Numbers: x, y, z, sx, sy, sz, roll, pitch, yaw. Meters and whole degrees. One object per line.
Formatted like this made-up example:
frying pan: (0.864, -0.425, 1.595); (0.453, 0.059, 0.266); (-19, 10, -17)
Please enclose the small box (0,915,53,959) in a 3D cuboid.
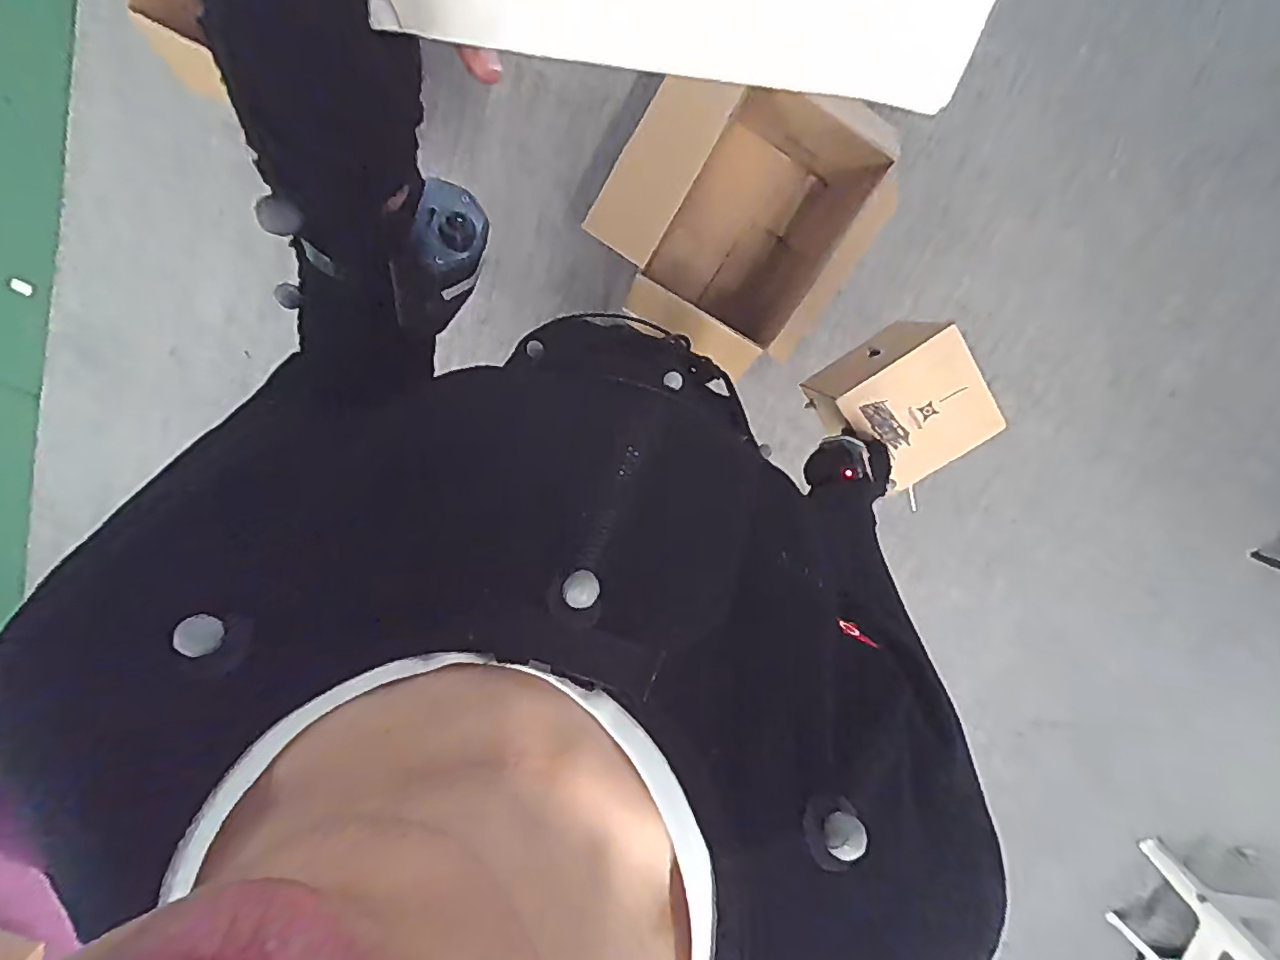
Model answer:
small box: (-1.209, 0.913, 0.958); (0.168, 0.176, 0.179); (20, 107, -6)
